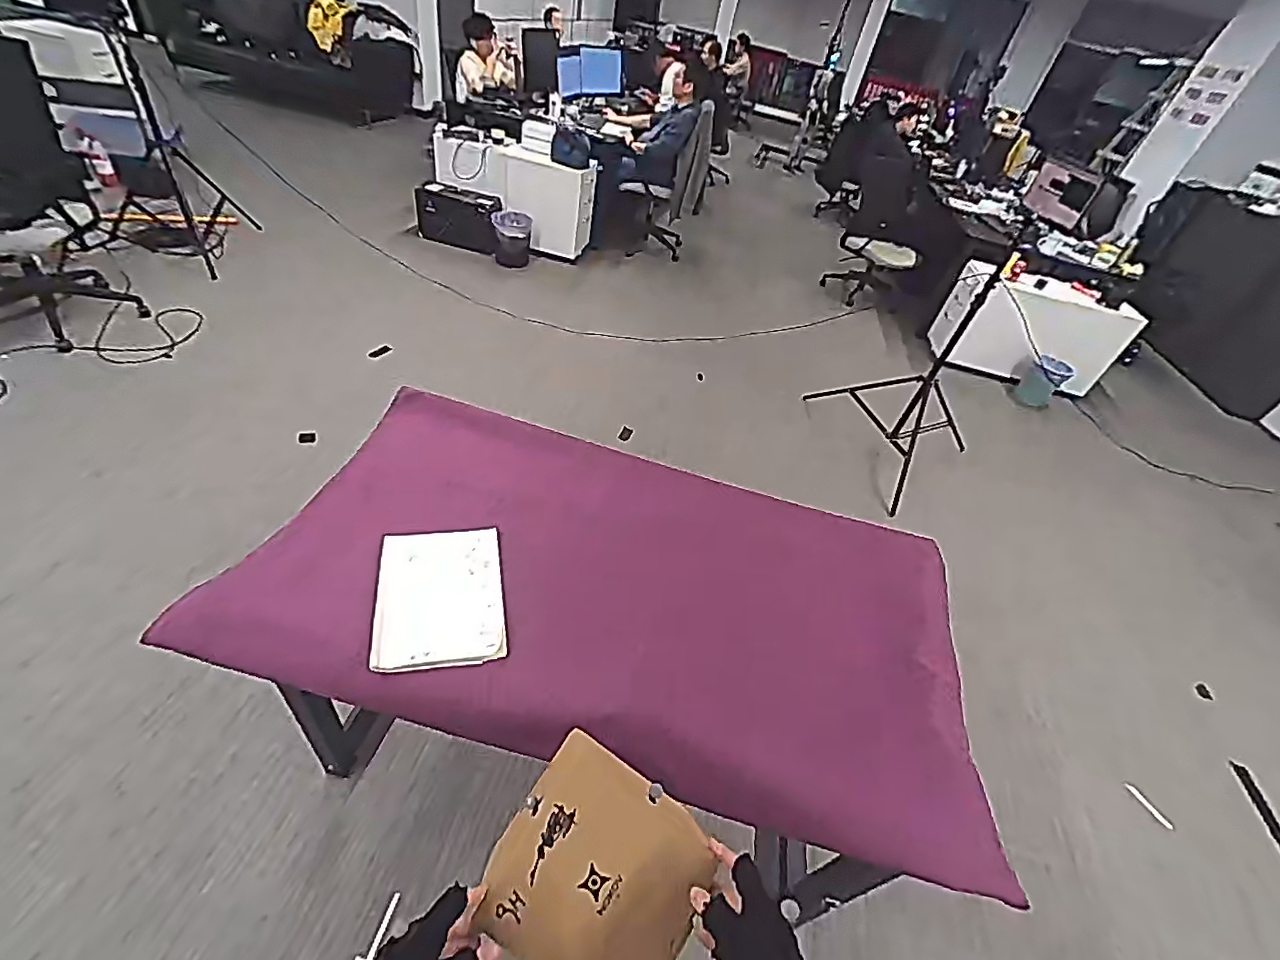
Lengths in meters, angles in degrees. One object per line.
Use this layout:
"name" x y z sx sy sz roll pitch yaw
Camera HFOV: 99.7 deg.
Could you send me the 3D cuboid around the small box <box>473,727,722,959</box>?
"small box" -0.045 0.389 0.575 0.179 0.176 0.168 35 71 4
